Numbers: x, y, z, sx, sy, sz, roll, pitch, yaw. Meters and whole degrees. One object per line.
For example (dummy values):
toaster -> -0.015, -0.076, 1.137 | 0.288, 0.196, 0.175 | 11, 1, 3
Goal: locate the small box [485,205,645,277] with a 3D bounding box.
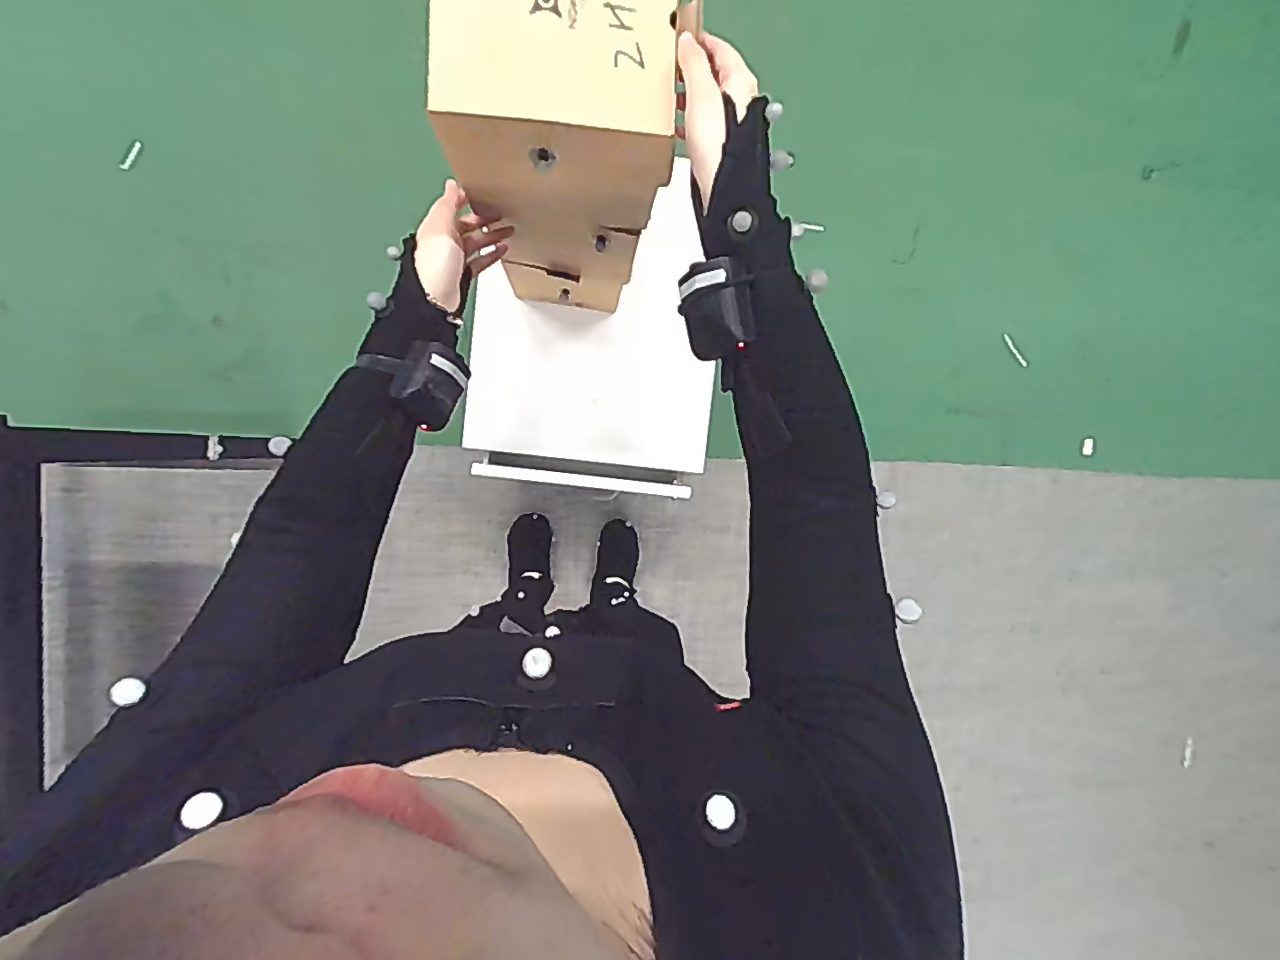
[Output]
small box -> -0.077, -0.348, 0.611 | 0.179, 0.176, 0.168 | 9, 92, -7

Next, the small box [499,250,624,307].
small box -> -0.097, -0.360, 0.771 | 0.168, 0.176, 0.179 | 7, 93, -7

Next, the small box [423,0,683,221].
small box -> -0.065, -0.334, 0.447 | 0.179, 0.176, 0.168 | 2, 94, -7
